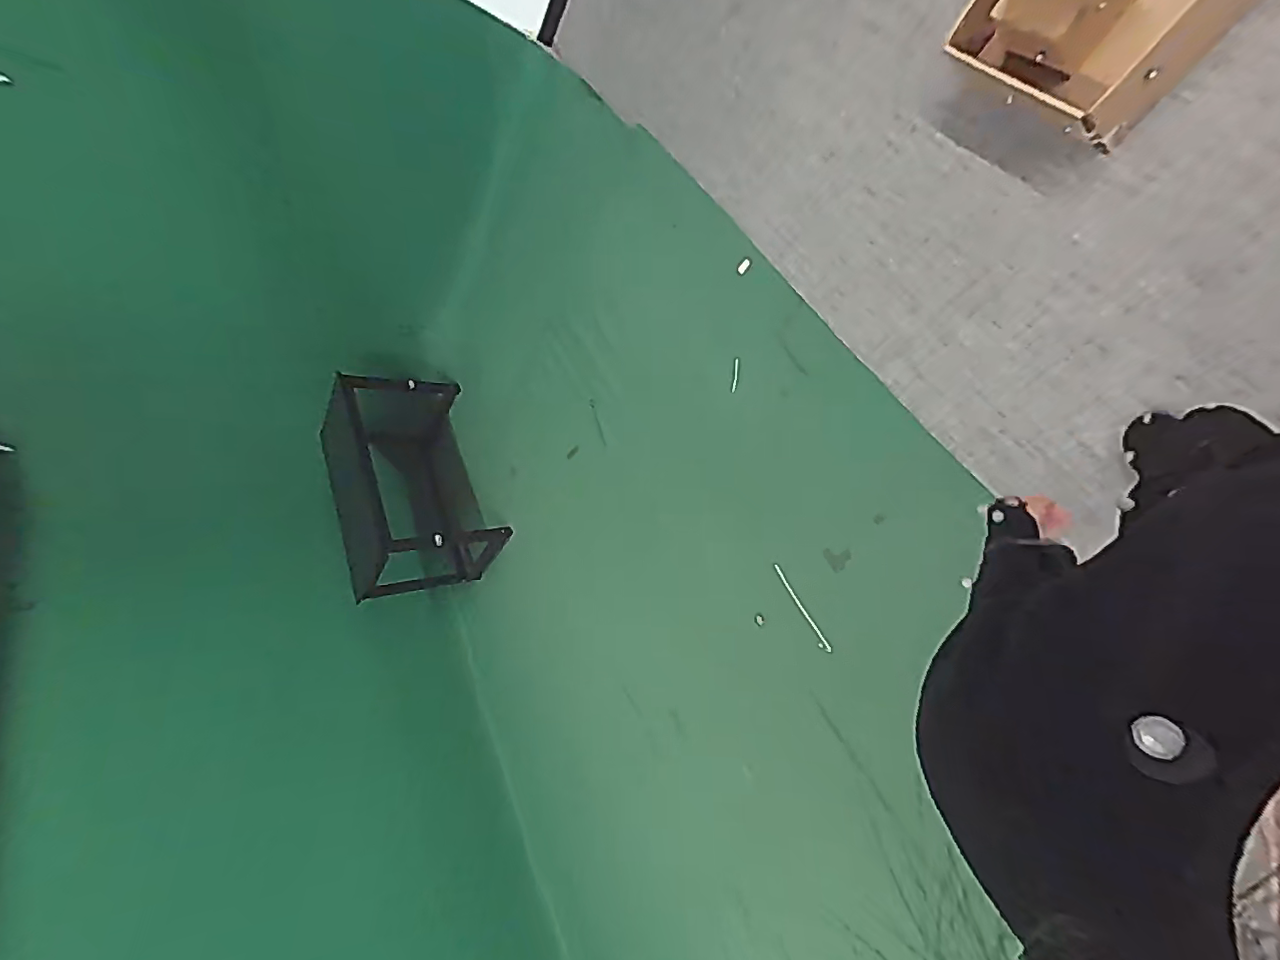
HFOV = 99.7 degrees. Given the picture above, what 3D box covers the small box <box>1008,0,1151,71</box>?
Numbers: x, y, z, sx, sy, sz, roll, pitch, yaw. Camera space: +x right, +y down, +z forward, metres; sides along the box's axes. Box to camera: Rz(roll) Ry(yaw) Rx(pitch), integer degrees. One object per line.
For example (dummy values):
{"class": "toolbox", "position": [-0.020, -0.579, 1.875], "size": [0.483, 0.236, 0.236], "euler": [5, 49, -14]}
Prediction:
{"class": "small box", "position": [0.906, -0.982, 1.098], "size": [0.168, 0.176, 0.179], "euler": [55, 128, 30]}
